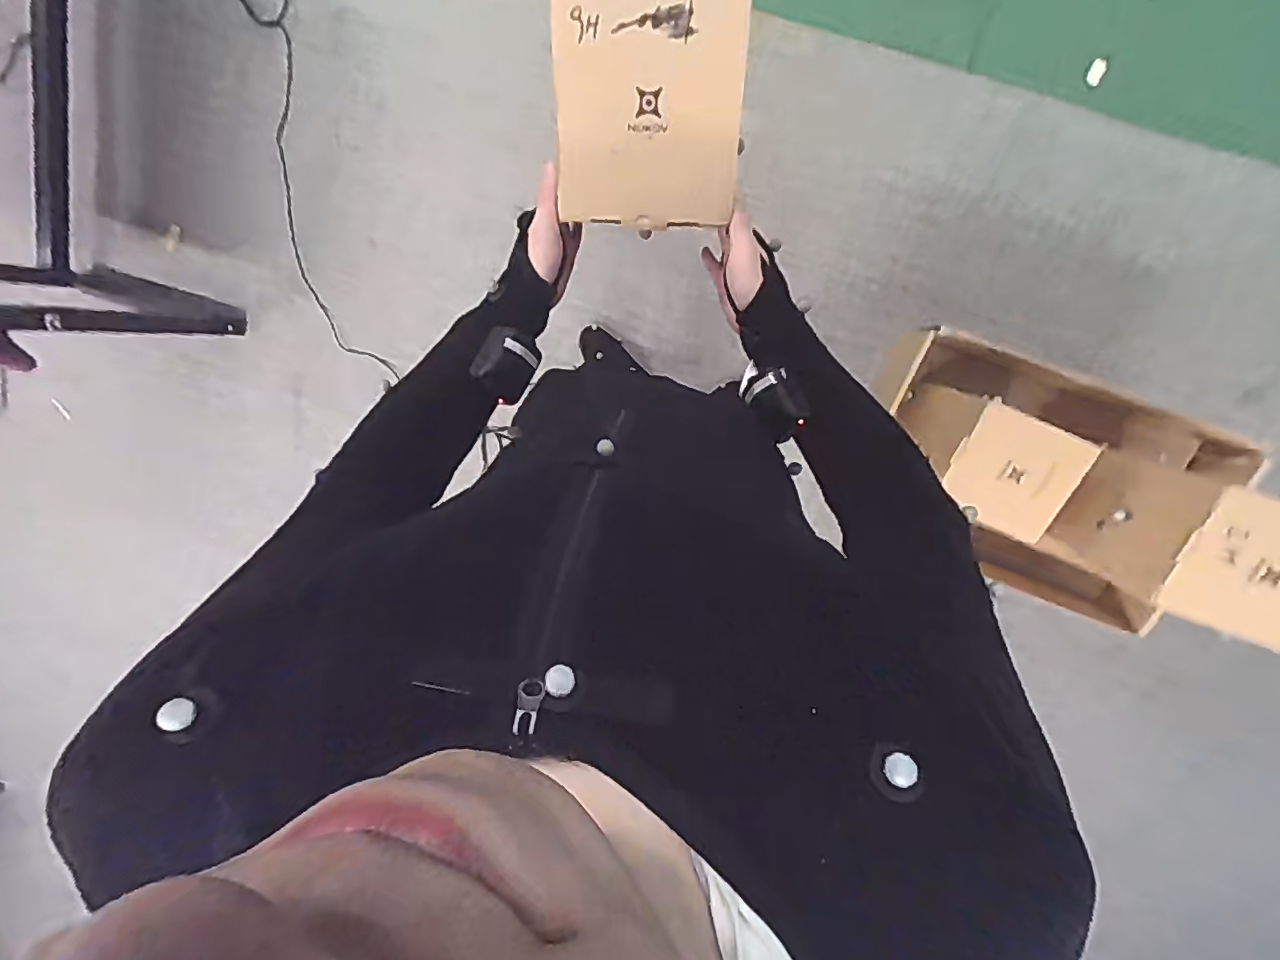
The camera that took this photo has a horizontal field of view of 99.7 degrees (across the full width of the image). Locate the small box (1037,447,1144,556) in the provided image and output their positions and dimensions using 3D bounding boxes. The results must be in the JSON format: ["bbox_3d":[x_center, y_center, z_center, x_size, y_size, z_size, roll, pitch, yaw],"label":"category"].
[{"bbox_3d":[0.781,0.058,0.873,0.179,0.176,0.168,23,107,5],"label":"small box"}]

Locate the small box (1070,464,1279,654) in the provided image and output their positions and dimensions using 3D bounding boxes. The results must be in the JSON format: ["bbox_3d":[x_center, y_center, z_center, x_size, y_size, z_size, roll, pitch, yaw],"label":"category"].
[{"bbox_3d":[0.739,0.091,0.716,0.179,0.176,0.168,22,106,5],"label":"small box"}]

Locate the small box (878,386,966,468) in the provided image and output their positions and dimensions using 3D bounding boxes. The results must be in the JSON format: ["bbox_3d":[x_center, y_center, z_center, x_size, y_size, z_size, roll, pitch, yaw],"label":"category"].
[{"bbox_3d":[0.589,-0.072,1.033,0.179,0.176,0.168,23,106,1],"label":"small box"}]

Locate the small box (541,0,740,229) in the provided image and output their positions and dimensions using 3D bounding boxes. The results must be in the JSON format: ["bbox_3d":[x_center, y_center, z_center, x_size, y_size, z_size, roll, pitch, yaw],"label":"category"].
[{"bbox_3d":[0.001,-0.358,0.547,0.168,0.176,0.179,2,118,1],"label":"small box"}]

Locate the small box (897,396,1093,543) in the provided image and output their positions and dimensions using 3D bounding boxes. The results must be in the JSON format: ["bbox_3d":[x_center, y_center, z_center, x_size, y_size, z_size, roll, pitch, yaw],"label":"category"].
[{"bbox_3d":[0.555,-0.028,0.879,0.179,0.176,0.168,25,107,1],"label":"small box"}]
